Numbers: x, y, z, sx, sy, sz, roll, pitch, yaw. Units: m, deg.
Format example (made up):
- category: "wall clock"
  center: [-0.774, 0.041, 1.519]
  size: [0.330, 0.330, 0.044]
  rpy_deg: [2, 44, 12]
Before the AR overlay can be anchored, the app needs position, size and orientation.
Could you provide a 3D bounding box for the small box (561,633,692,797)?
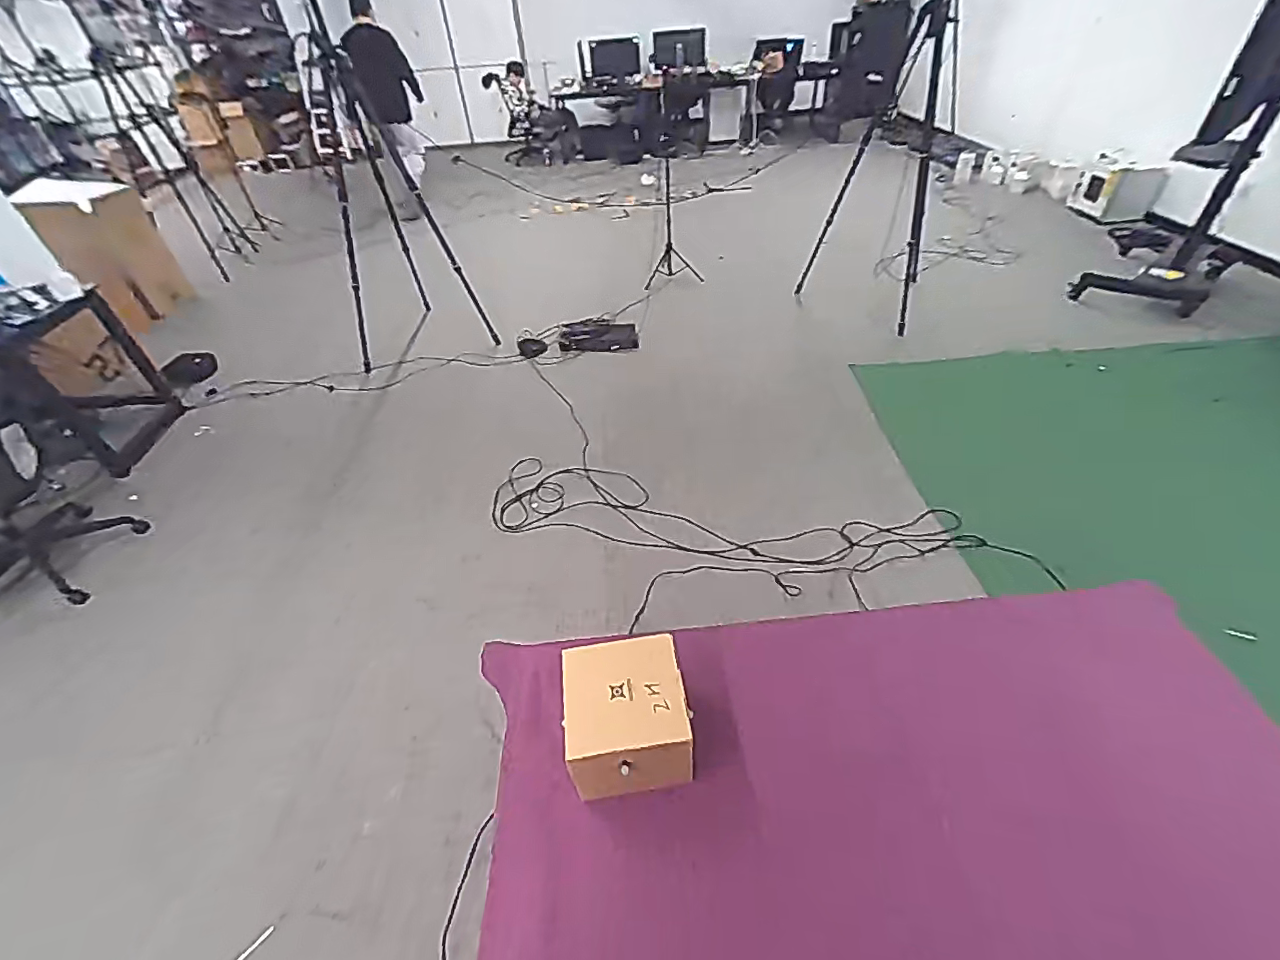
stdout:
- category: "small box"
  center: [-0.020, 0.362, 0.829]
  size: [0.179, 0.176, 0.168]
  rpy_deg: [-8, 43, -3]
